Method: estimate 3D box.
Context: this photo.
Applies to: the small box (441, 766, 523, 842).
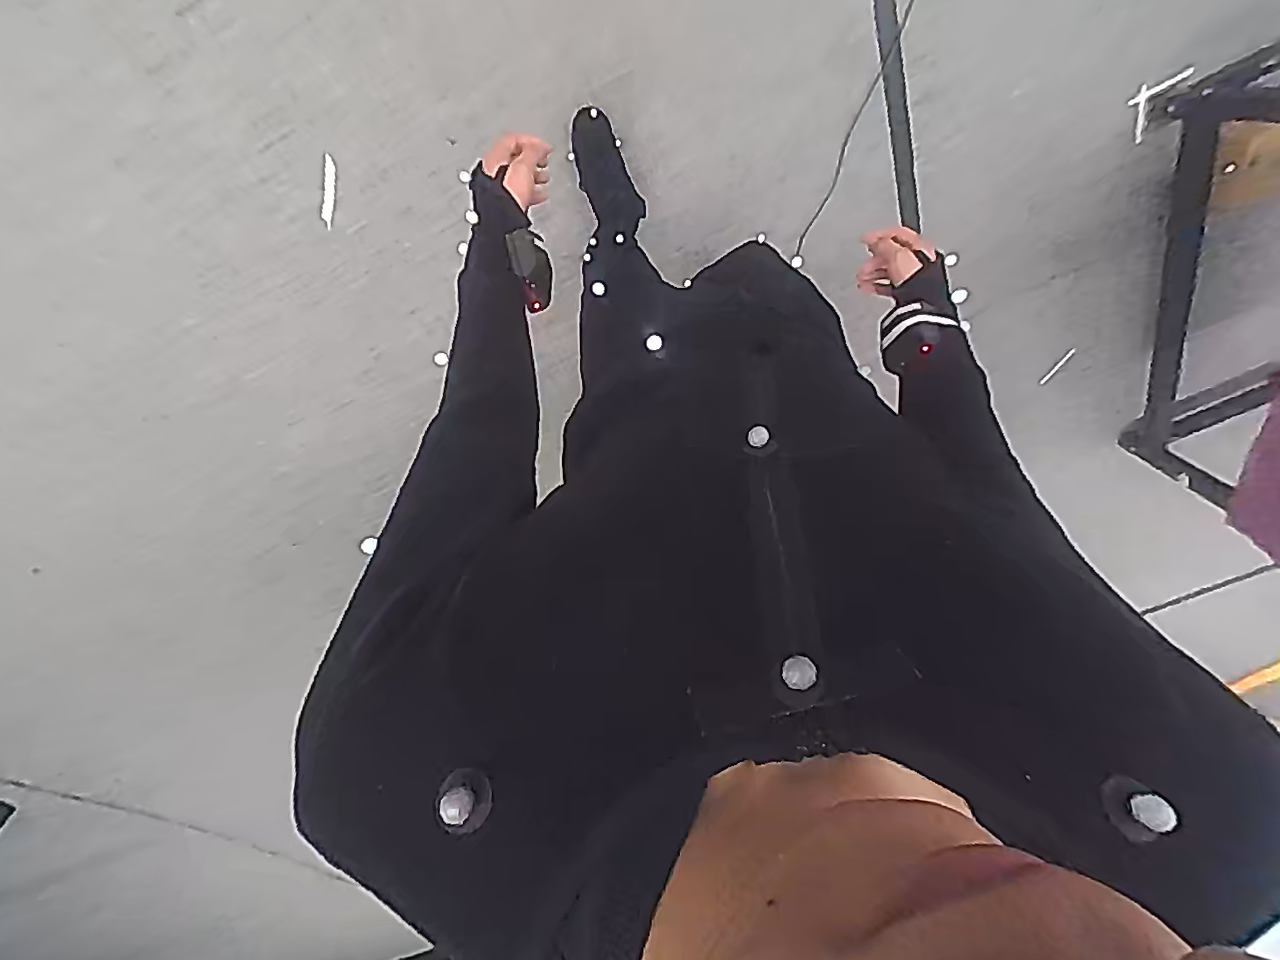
[{"bbox_3d":[-0.473,1.008,1.648,0.179,0.176,0.168,-22,126,8],"label":"small box"}]
